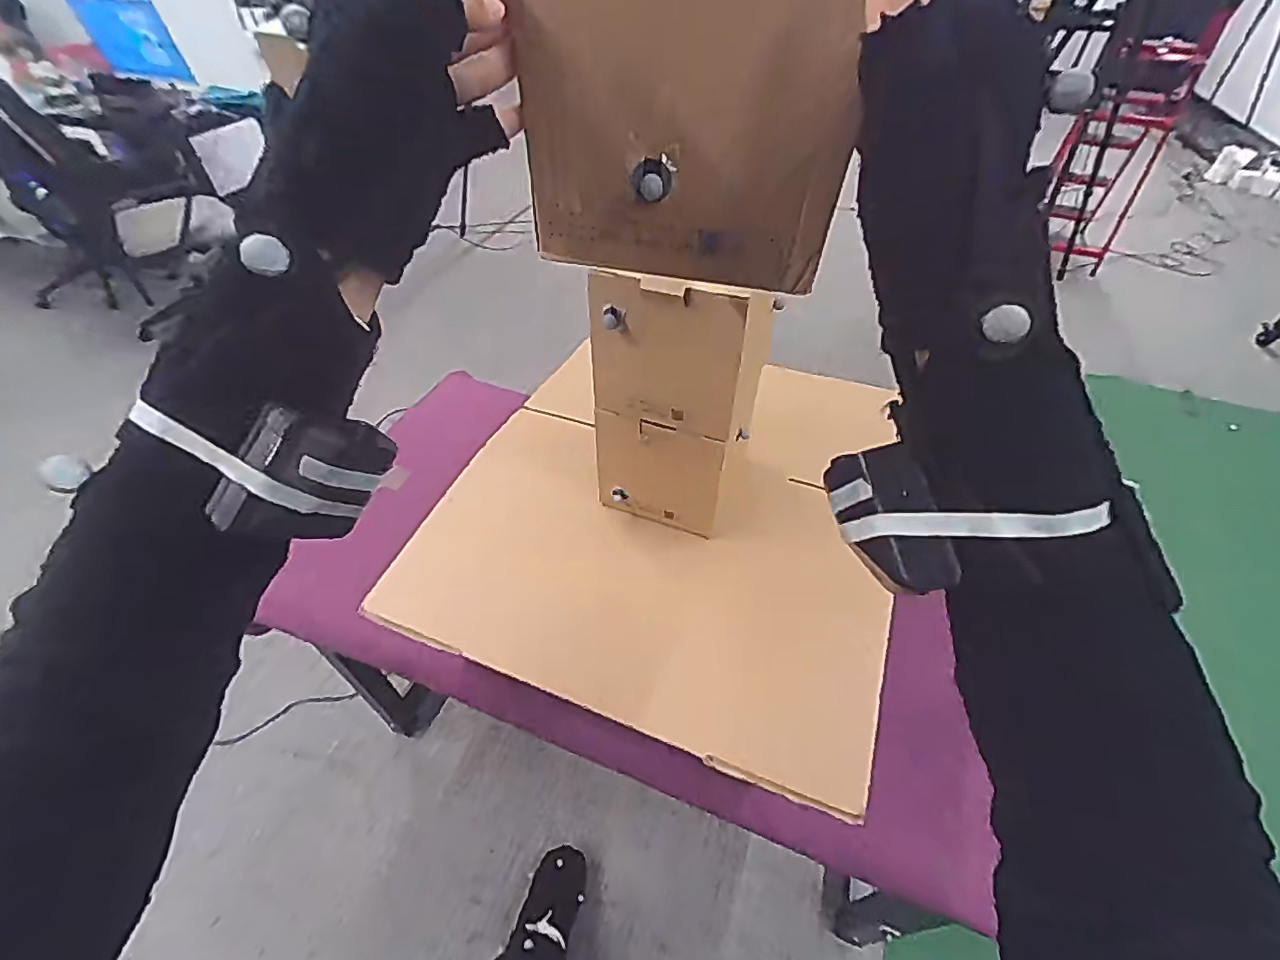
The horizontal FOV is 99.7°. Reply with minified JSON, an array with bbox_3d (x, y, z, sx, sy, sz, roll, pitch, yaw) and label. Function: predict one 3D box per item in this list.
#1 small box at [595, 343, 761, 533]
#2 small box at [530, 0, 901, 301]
[{"bbox_3d":[0.053,-0.057,0.732,0.168,0.176,0.179,17,47,16],"label":"small box"},{"bbox_3d":[0.039,-0.236,0.321,0.168,0.176,0.179,10,53,6],"label":"small box"}]
